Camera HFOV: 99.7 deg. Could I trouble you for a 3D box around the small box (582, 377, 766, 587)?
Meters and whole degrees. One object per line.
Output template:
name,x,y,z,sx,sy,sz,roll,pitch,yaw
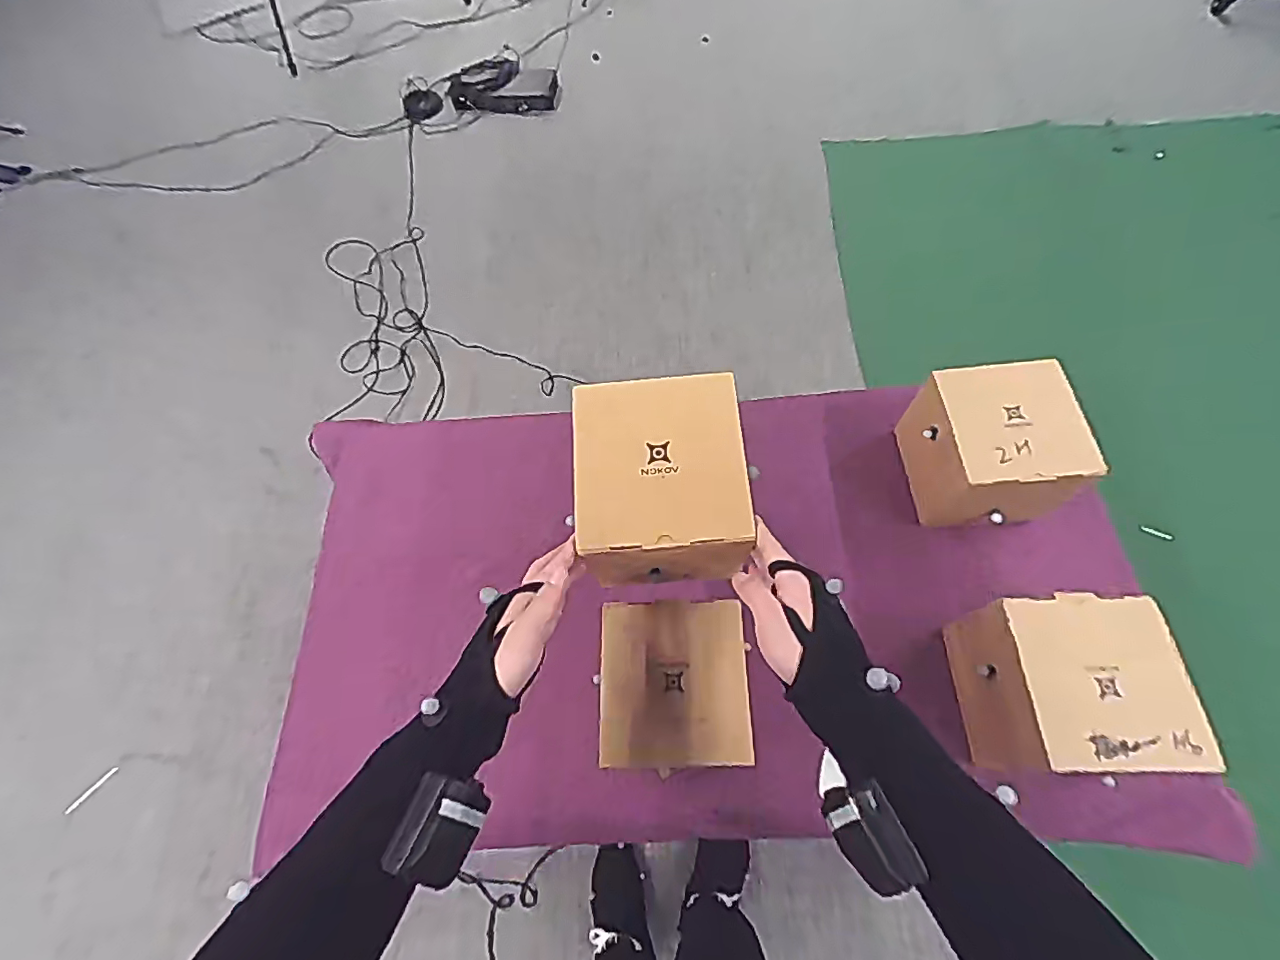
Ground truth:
small box,0.030,0.011,0.587,0.168,0.176,0.179,-5,70,1

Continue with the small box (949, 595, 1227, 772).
small box,0.498,0.245,0.641,0.168,0.176,0.179,-2,63,5

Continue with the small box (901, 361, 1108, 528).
small box,0.498,-0.044,0.775,0.168,0.176,0.179,-5,65,5
